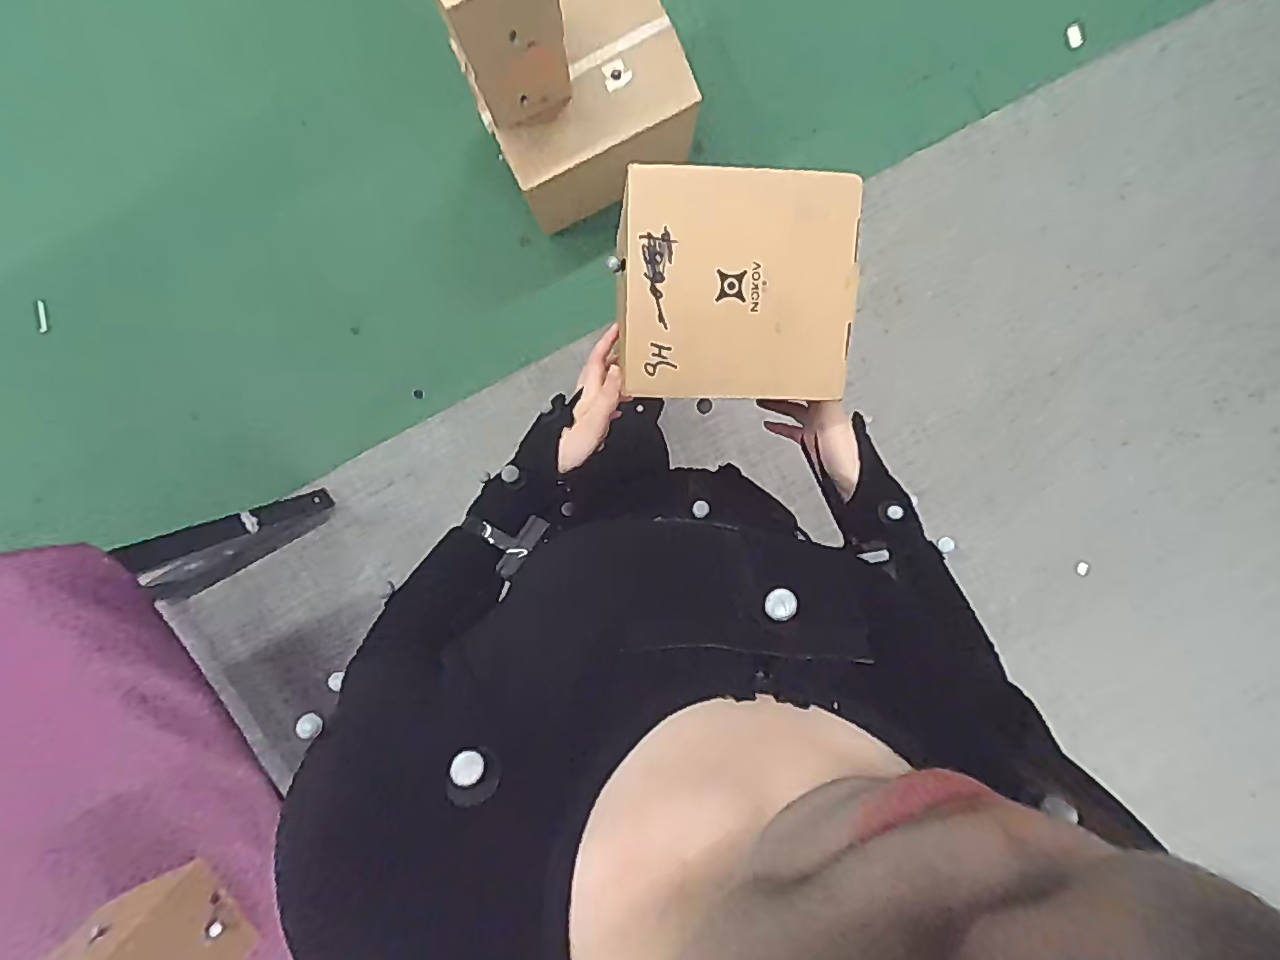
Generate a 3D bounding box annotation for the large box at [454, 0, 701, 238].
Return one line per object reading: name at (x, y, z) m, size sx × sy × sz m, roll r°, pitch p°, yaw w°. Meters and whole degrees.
large box at (-0.125, -0.813, 1.203) m, size 0.408 × 0.320 × 0.320 m, roll -26°, pitch 98°, yaw 2°

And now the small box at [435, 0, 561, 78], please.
small box at (-0.232, -0.757, 0.797) m, size 0.168 × 0.176 × 0.179 m, roll -27°, pitch 97°, yaw 2°

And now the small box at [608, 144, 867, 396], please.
small box at (0.066, -0.161, 0.469) m, size 0.179 × 0.176 × 0.168 m, roll 1°, pitch 99°, yaw -6°

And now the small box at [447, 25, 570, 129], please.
small box at (-0.238, -0.779, 0.961) m, size 0.168 × 0.176 × 0.179 m, roll -26°, pitch 97°, yaw 2°

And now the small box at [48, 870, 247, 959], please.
small box at (-0.696, 0.688, 0.731) m, size 0.179 × 0.176 × 0.168 m, roll -26°, pitch 98°, yaw 2°
